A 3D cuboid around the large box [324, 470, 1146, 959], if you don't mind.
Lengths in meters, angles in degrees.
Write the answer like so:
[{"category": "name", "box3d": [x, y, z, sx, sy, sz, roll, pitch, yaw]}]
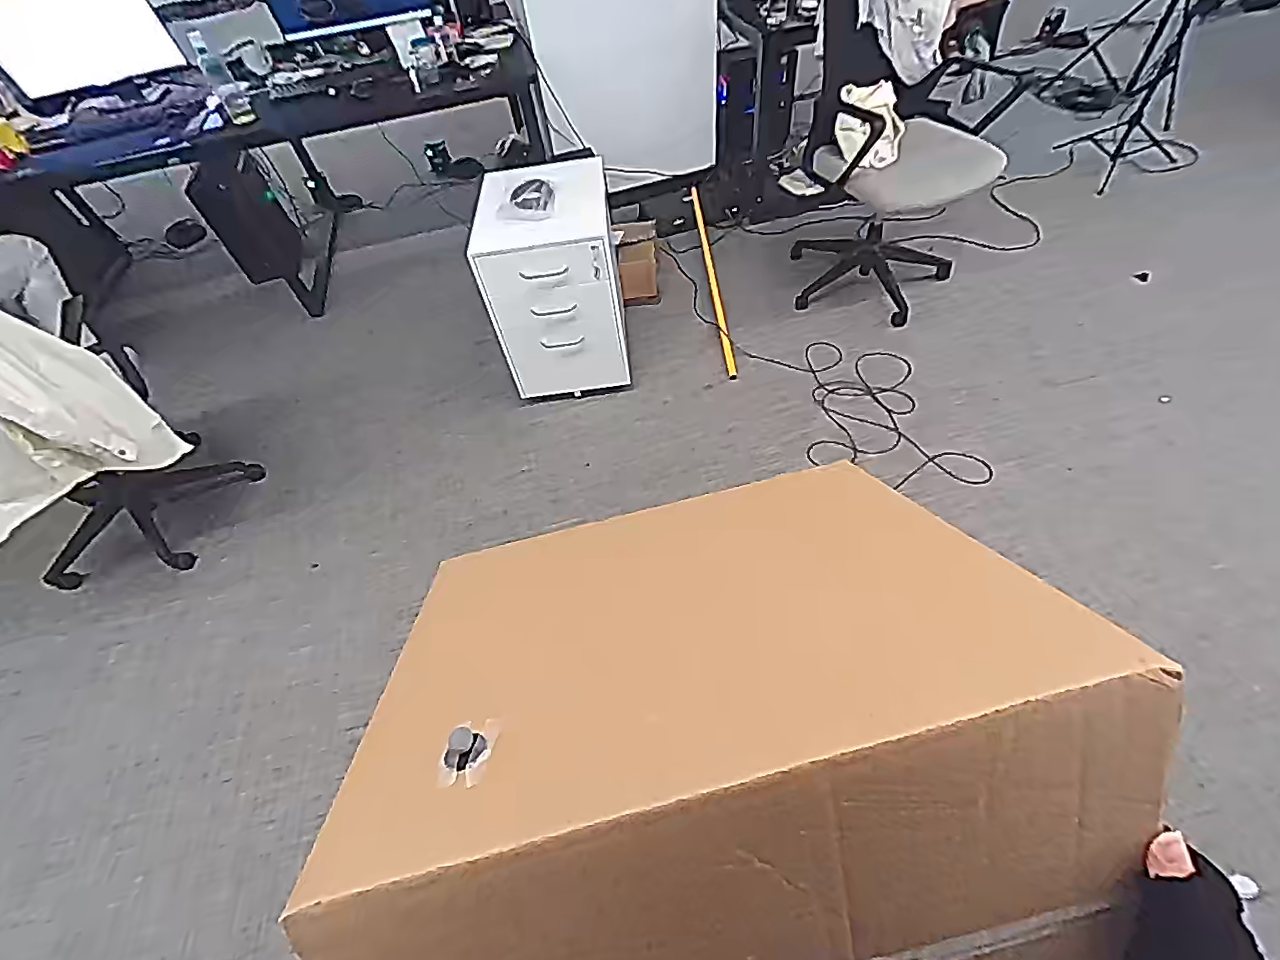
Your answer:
[{"category": "large box", "box3d": [0.062, 0.221, 0.437, 0.408, 0.320, 0.320, -14, 21, -2]}]
